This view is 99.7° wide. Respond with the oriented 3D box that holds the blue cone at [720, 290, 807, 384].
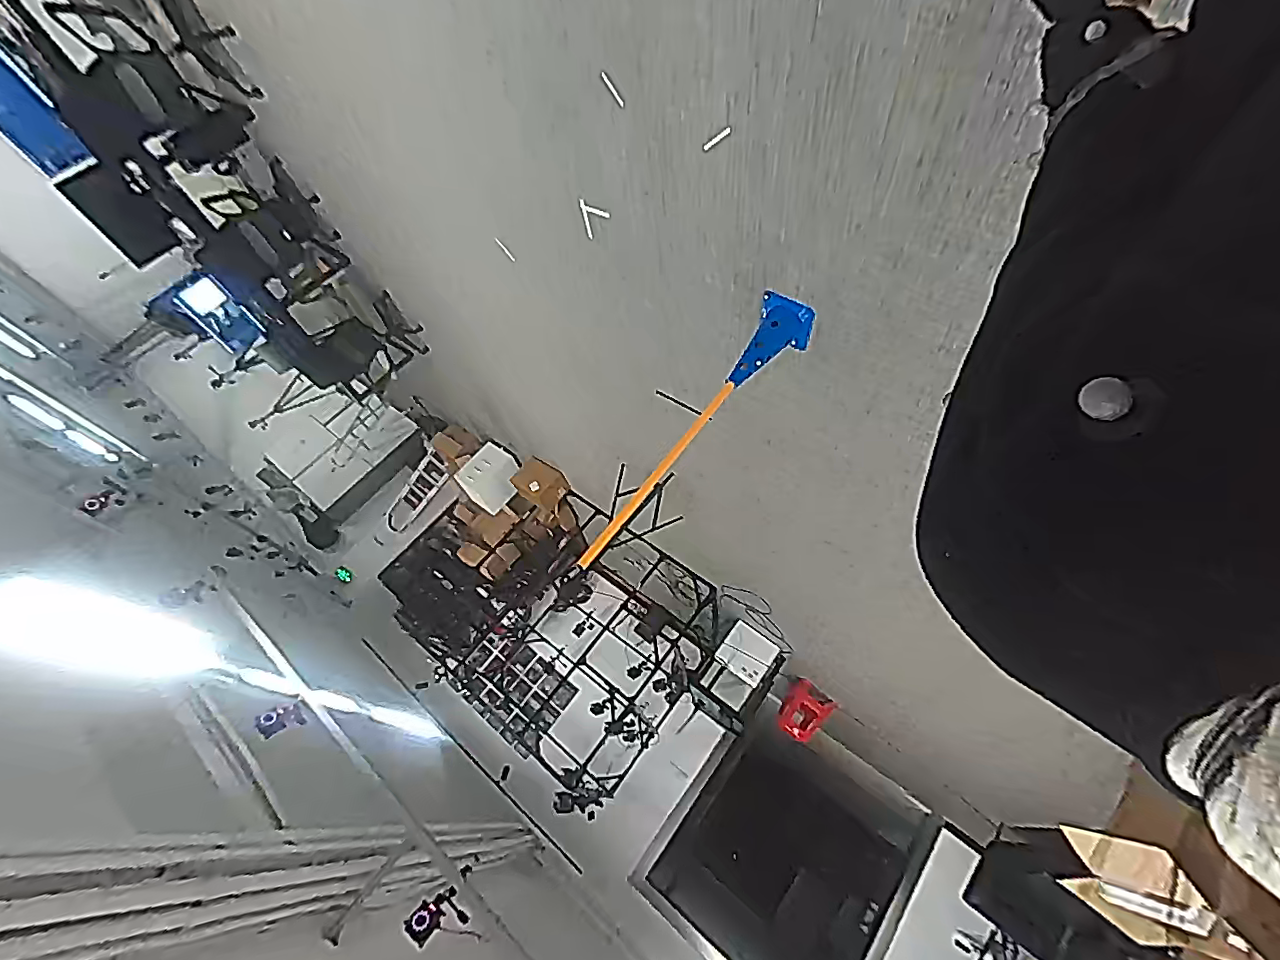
[{"bbox_3d":[0.410,-0.467,1.895,0.192,0.380,0.193,34,159,20],"label":"blue cone"}]
